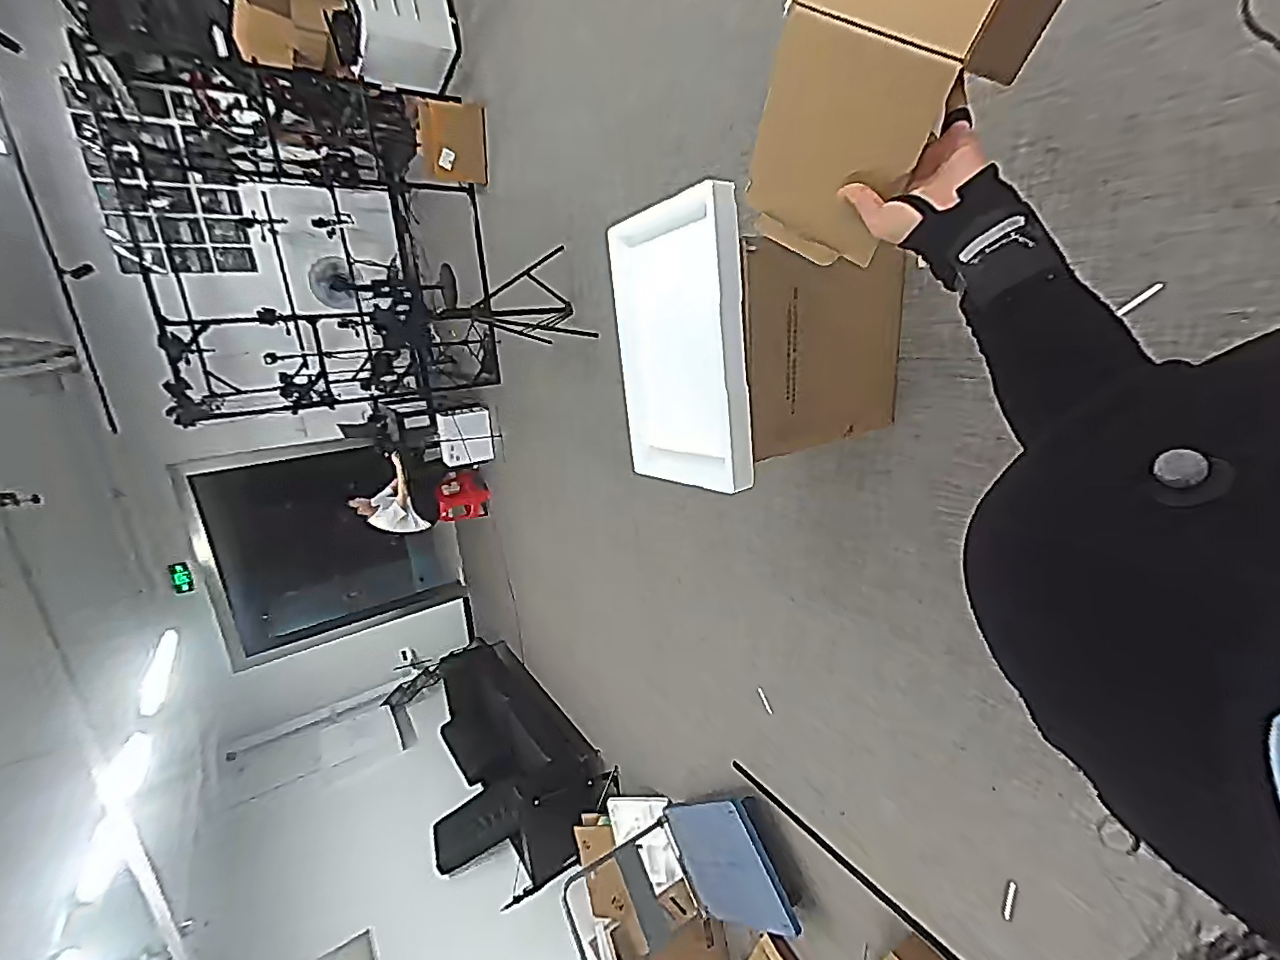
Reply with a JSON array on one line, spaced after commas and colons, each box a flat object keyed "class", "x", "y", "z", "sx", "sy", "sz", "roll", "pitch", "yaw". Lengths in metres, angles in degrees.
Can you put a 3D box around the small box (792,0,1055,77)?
[{"class": "small box", "x": 0.263, "y": -0.458, "z": 0.437, "sx": 0.168, "sy": 0.176, "sz": 0.179, "roll": 41, "pitch": 136, "yaw": 21}]
